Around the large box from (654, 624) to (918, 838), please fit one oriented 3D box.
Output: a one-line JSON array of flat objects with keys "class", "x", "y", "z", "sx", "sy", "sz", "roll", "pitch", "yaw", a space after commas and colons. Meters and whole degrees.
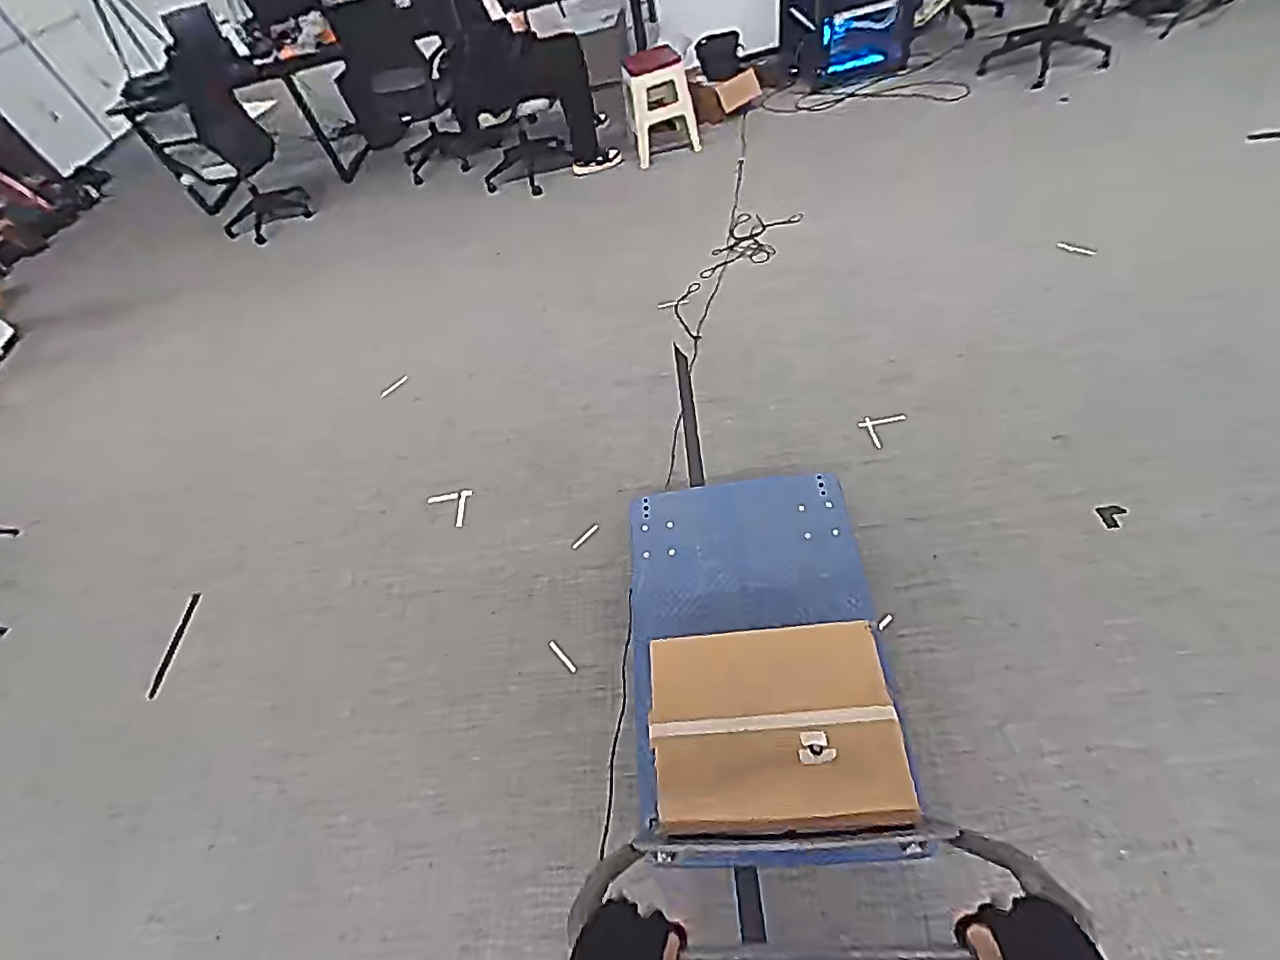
[{"class": "large box", "x": 0.254, "y": 0.498, "z": 1.059, "sx": 0.408, "sy": 0.320, "sz": 0.320, "roll": -8, "pitch": 59, "yaw": 7}]
